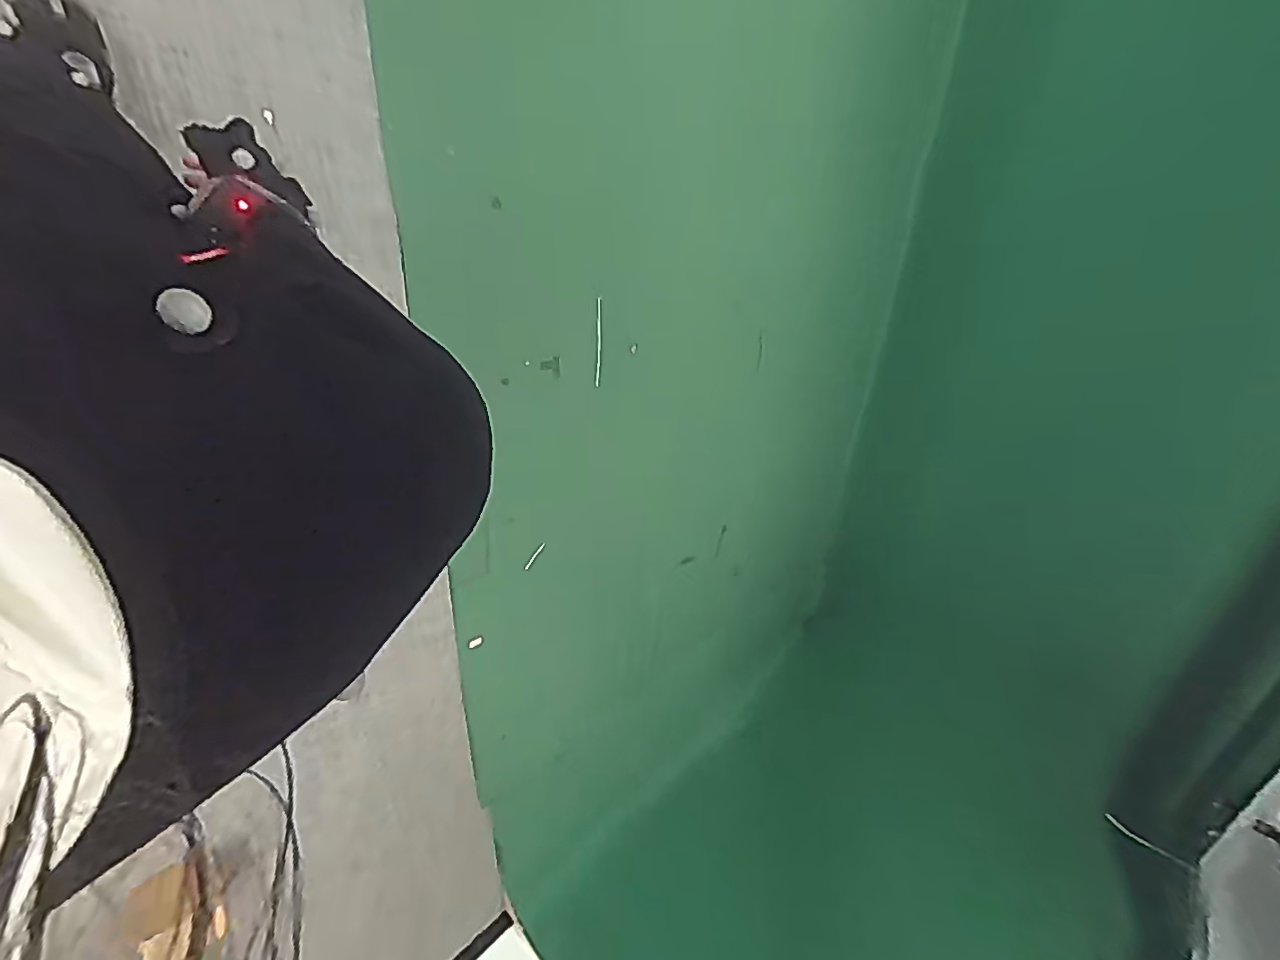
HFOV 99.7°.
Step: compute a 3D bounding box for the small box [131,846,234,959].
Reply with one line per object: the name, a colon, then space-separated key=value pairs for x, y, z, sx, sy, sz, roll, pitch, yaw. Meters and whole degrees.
small box: x=-1.237 y=1.154 z=1.459 sx=0.179 sy=0.176 sz=0.168 roll=-20 pitch=126 yaw=-43
